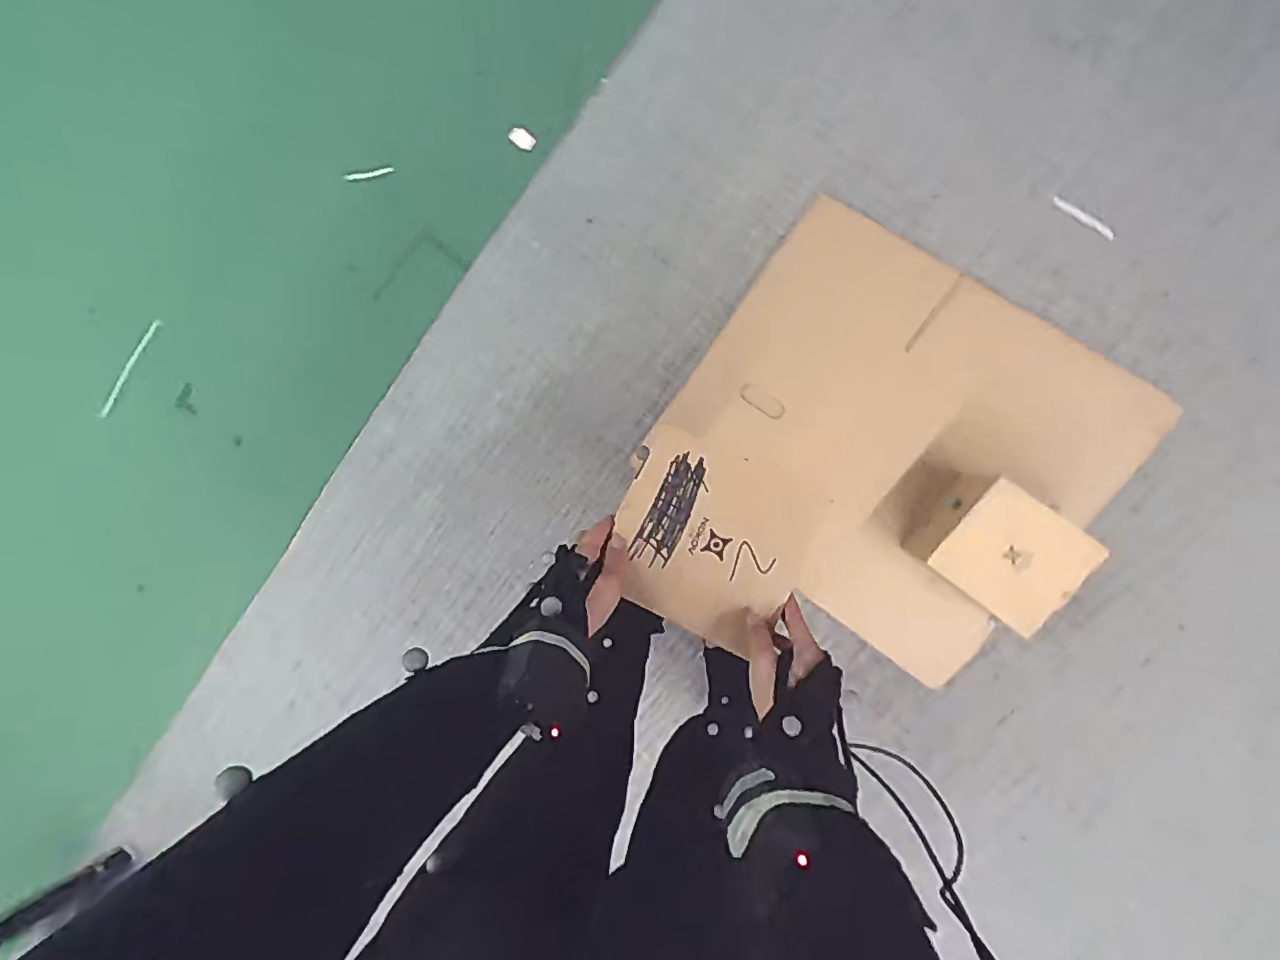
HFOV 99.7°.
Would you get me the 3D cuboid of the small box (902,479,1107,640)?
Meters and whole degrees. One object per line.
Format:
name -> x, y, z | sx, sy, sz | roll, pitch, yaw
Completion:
small box -> 0.549, 0.114, 0.848 | 0.179, 0.176, 0.168 | 39, 99, 10
